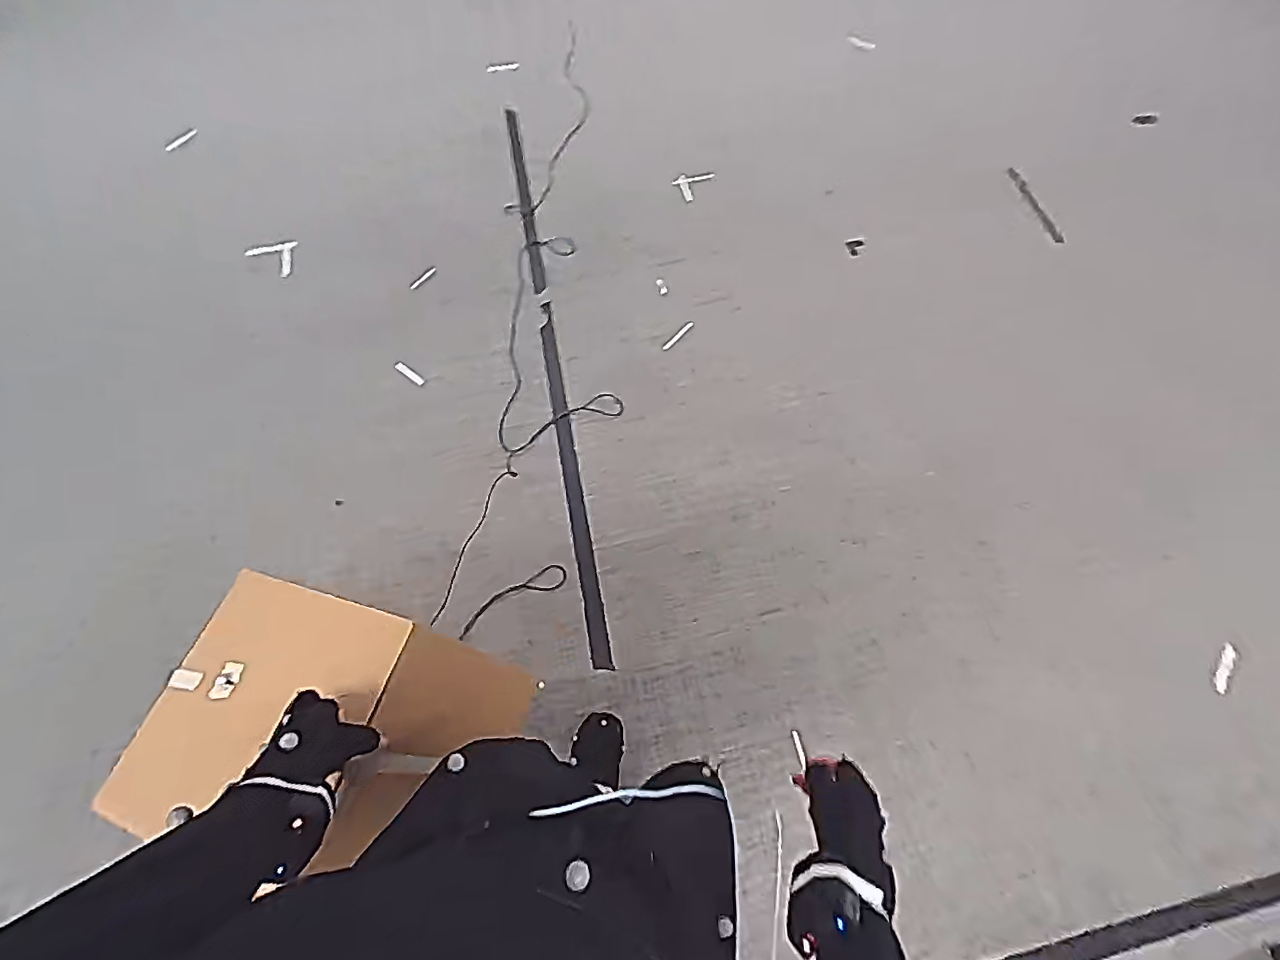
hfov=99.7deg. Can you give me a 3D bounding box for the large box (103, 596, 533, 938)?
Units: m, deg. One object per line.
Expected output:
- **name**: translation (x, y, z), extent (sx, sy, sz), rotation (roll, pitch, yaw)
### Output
- **large box**: translation (-0.421, 0.399, 0.818), extent (0.320, 0.408, 0.320), rotation (9, 65, 18)
